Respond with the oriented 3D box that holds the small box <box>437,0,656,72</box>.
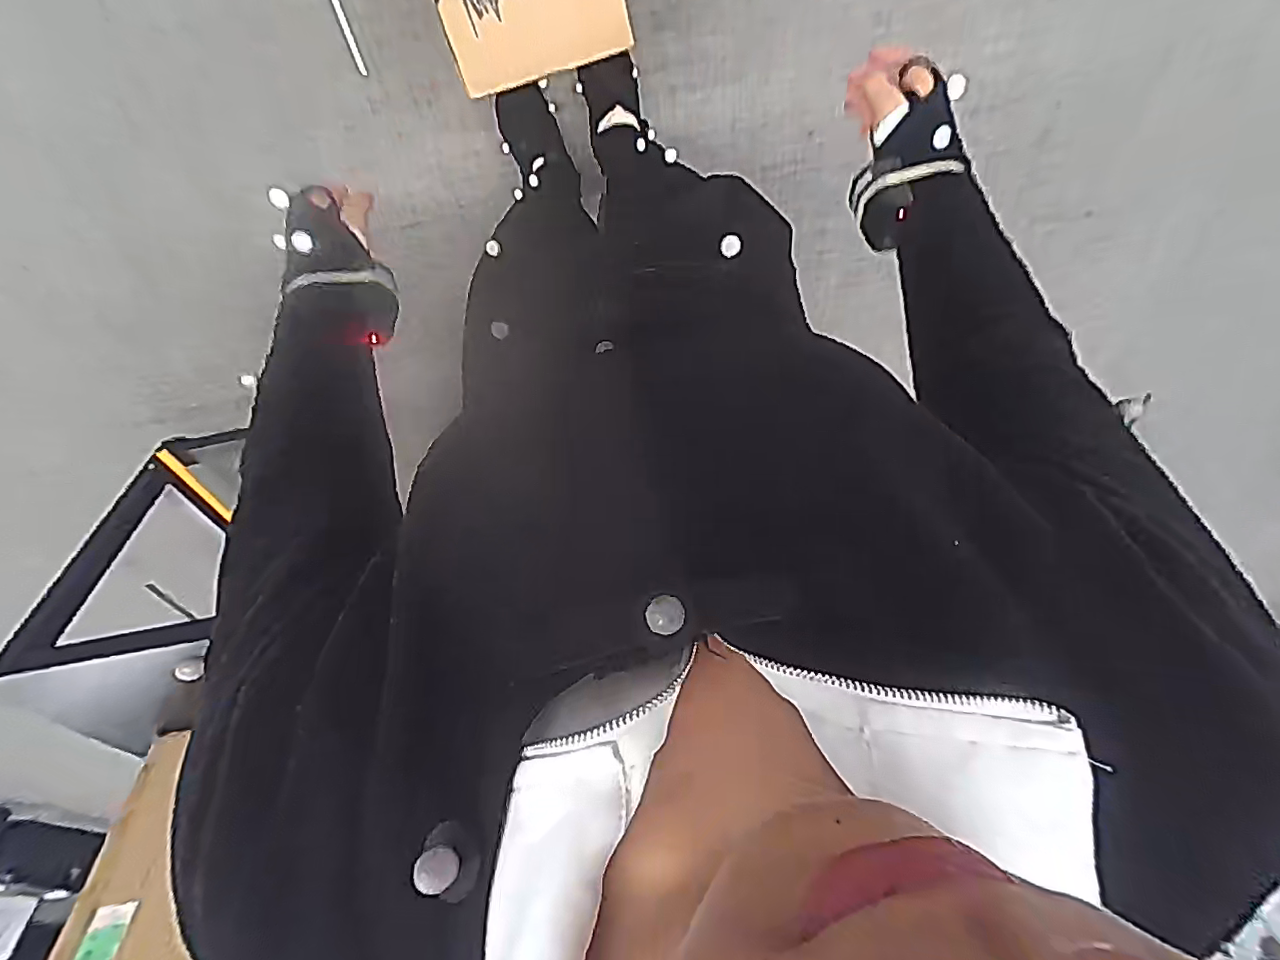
[{"bbox_3d":[-0.096,-0.482,0.461,0.179,0.176,0.168,-15,136,4],"label":"small box"}]
